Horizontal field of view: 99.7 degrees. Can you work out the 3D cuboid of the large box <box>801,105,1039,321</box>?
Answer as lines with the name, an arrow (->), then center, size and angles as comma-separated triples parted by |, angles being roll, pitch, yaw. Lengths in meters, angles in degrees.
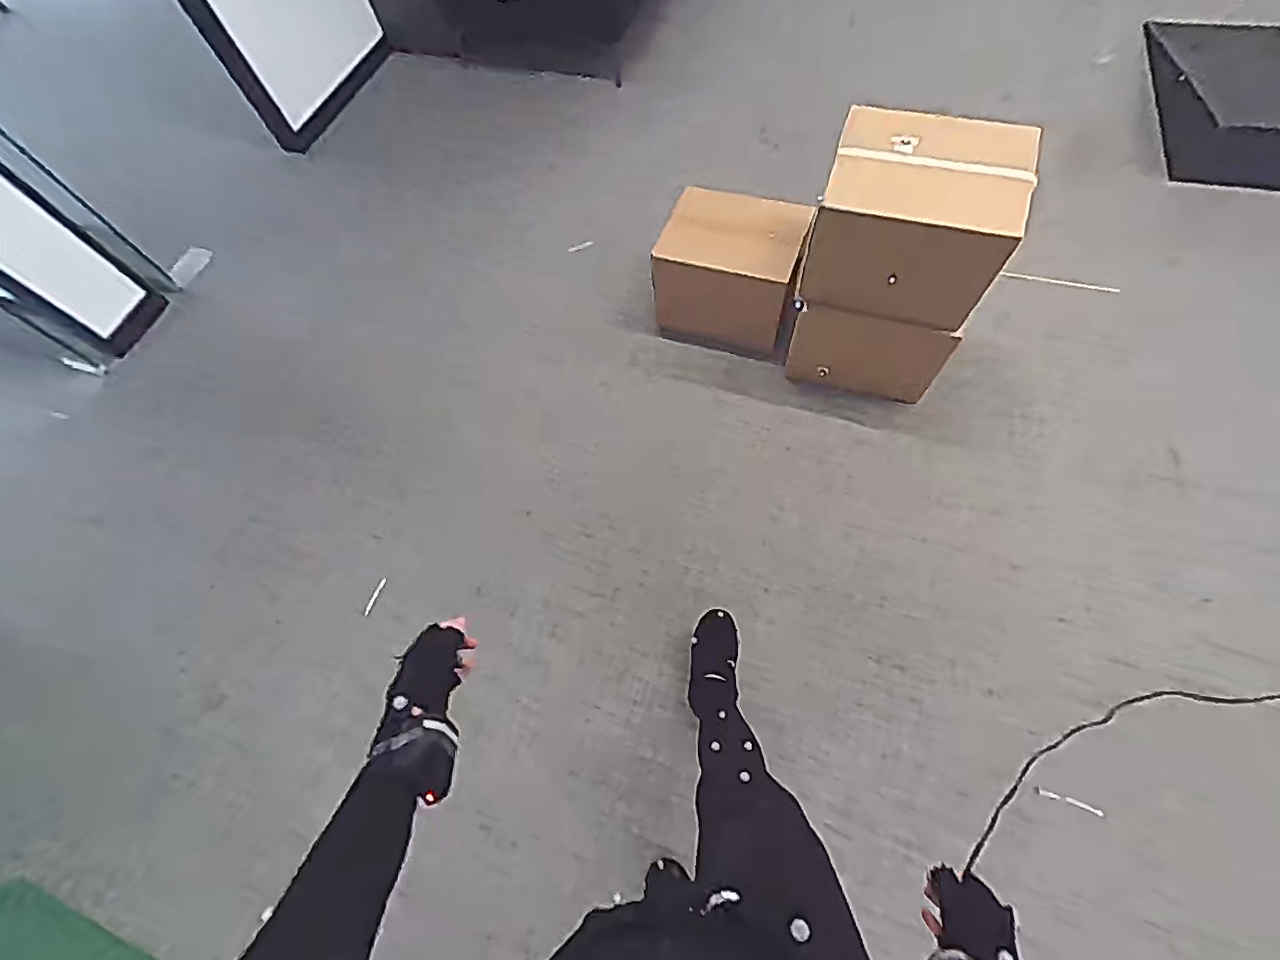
large box -> 0.637, -0.622, 1.286 | 0.408, 0.320, 0.320 | 16, 72, 14
